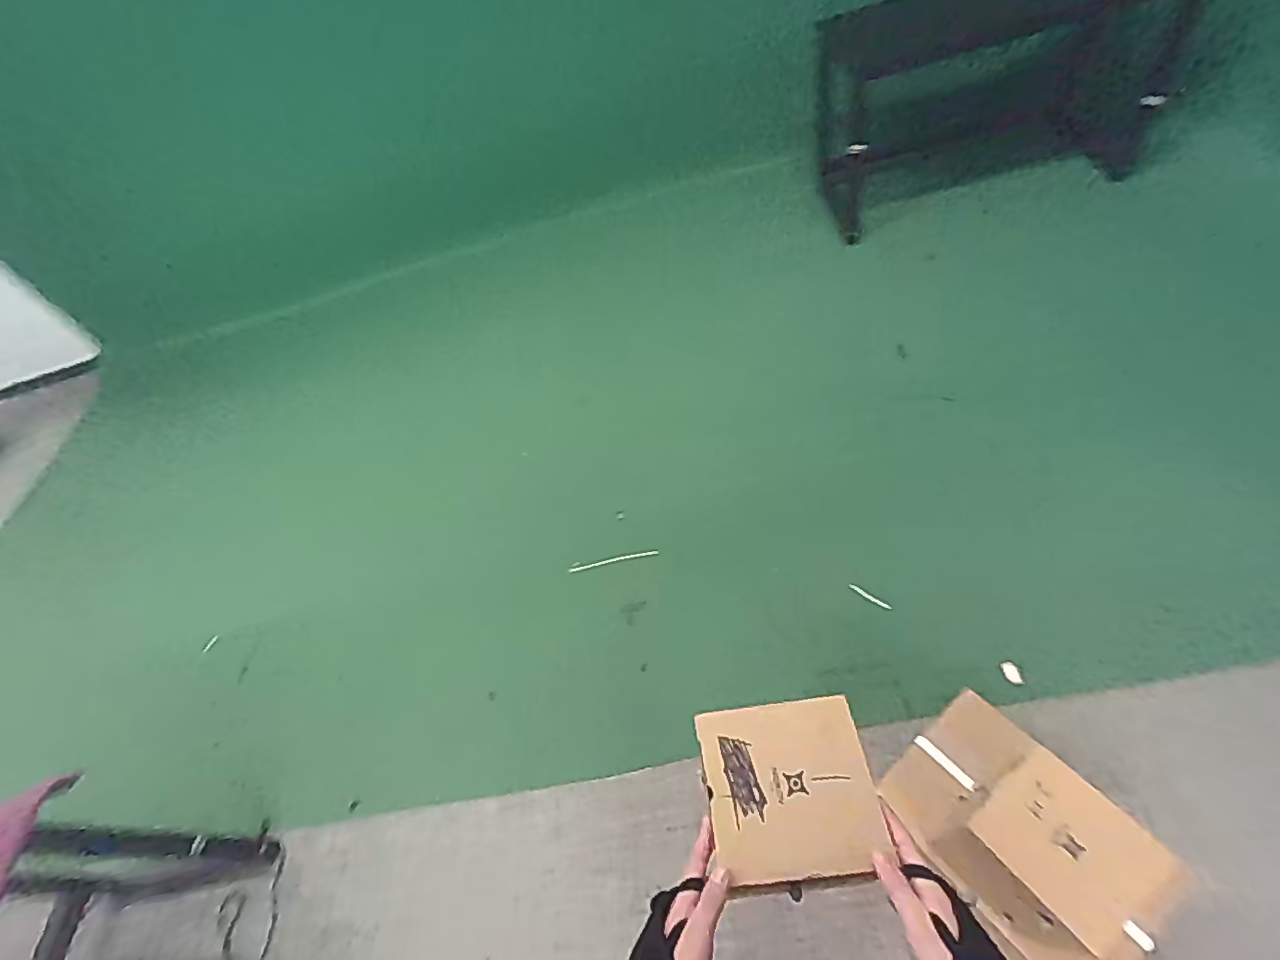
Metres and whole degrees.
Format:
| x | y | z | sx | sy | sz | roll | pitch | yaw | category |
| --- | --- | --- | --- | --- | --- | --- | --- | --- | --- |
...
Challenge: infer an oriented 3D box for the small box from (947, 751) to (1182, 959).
| x | y | z | sx | sy | sz | roll | pitch | yaw | category |
| --- | --- | --- | --- | --- | --- | --- | --- | --- | --- |
| 0.576 | 0.522 | 0.763 | 0.168 | 0.176 | 0.179 | -36 | 53 | -12 | small box |

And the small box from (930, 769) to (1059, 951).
| x | y | z | sx | sy | sz | roll | pitch | yaw | category |
| --- | --- | --- | --- | --- | --- | --- | --- | --- | --- |
| 0.617 | 0.616 | 0.891 | 0.168 | 0.176 | 0.179 | -38 | 53 | -12 | small box |

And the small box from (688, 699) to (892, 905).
| x | y | z | sx | sy | sz | roll | pitch | yaw | category |
| --- | --- | --- | --- | --- | --- | --- | --- | --- | --- |
| 0.159 | 0.373 | 0.621 | 0.179 | 0.176 | 0.168 | -10 | 49 | 3 | small box |
